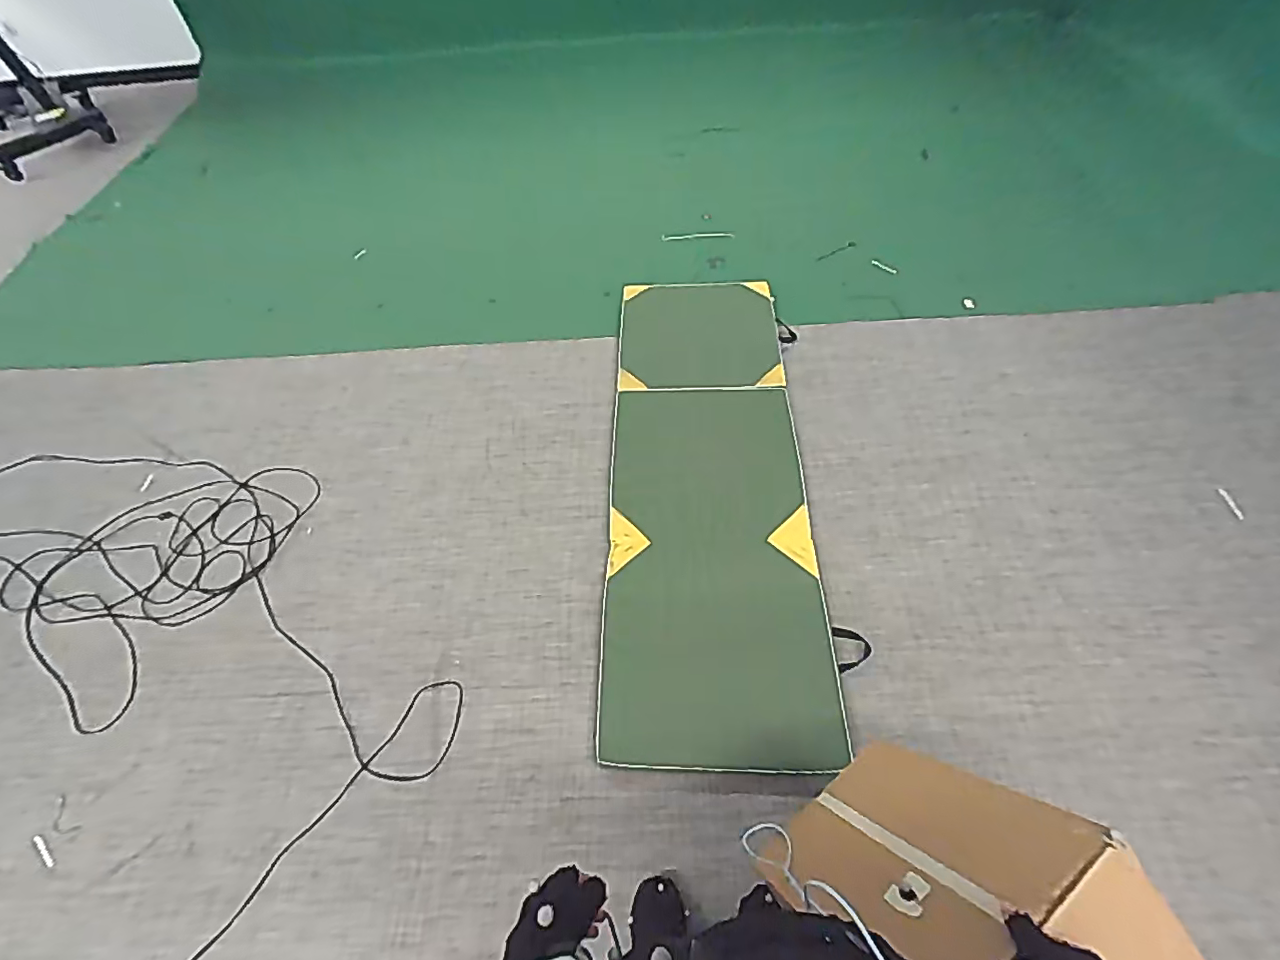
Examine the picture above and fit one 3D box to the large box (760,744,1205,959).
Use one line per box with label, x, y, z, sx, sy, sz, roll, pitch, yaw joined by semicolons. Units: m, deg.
large box;0.440;0.627;0.726;0.320;0.408;0.320;-32;87;-18
